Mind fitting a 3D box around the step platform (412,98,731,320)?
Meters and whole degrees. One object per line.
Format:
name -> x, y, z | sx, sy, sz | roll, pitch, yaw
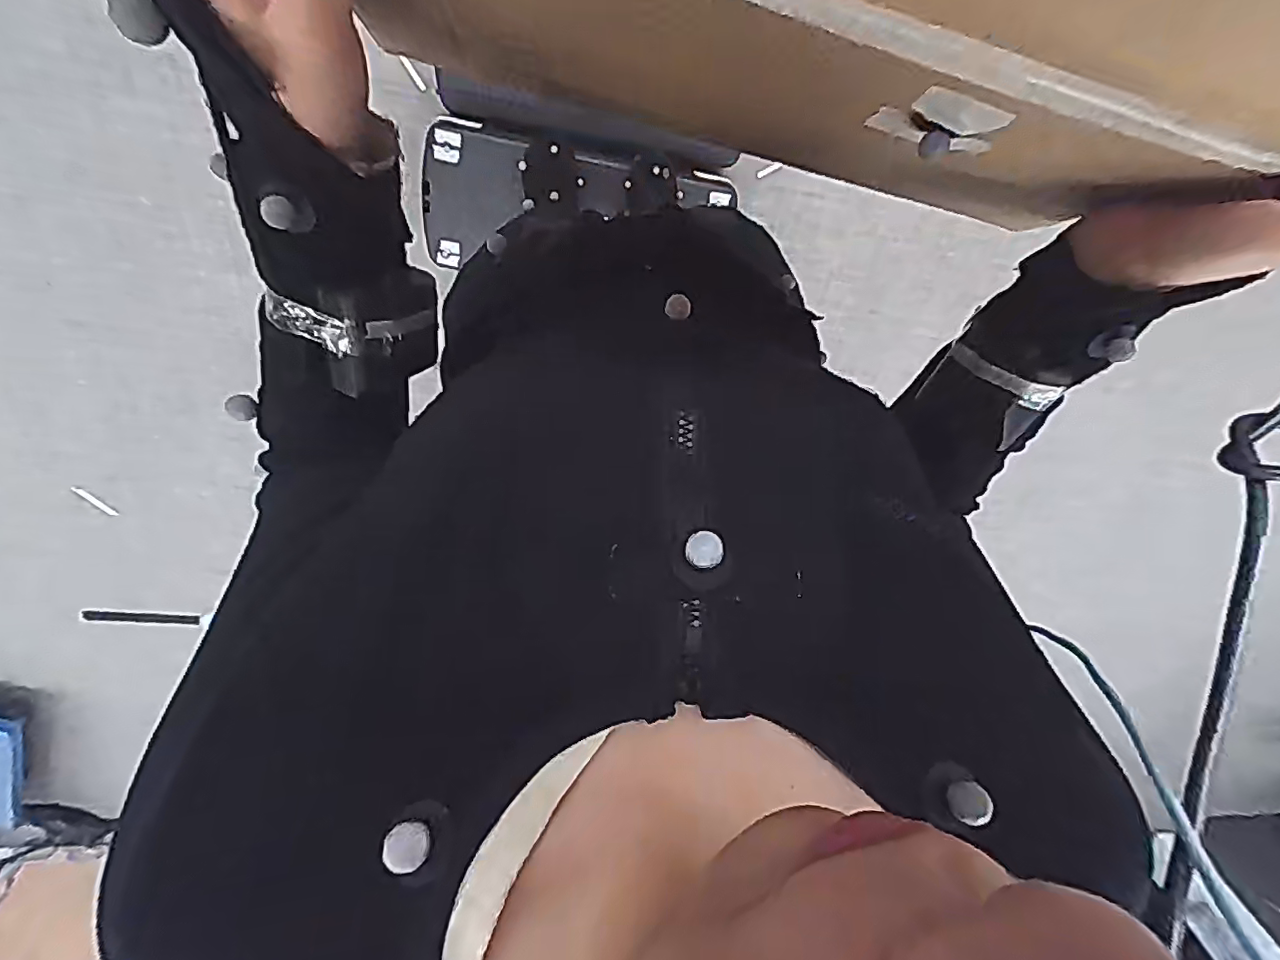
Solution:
step platform -> -0.144, -0.590, 1.219 | 0.684, 0.204, 0.286 | 11, 122, -12
